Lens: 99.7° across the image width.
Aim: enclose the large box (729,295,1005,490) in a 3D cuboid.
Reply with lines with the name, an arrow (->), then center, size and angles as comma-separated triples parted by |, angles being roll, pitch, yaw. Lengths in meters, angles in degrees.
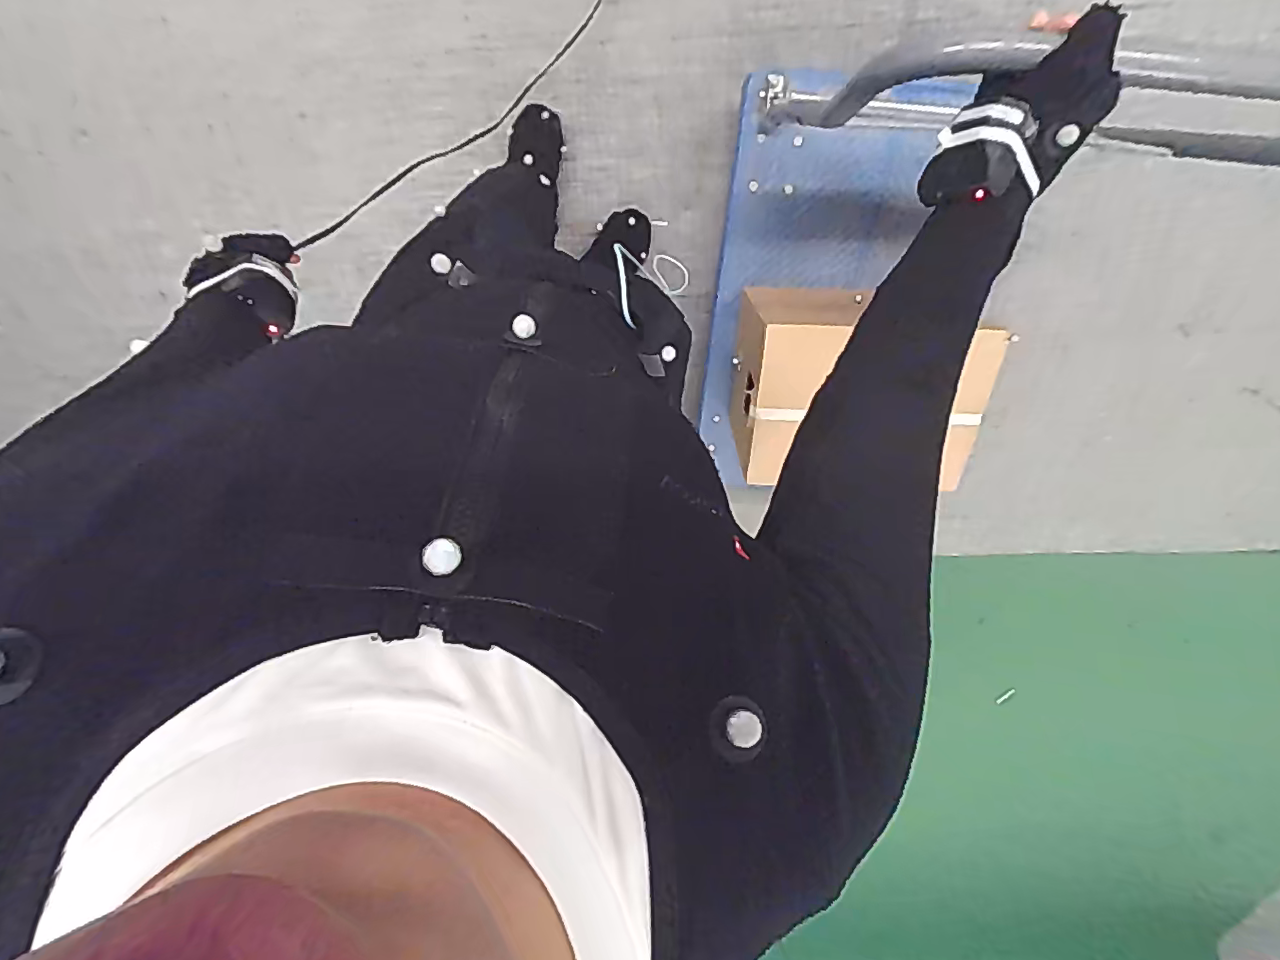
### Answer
large box -> 0.406, -0.189, 1.095 | 0.408, 0.320, 0.320 | 1, 121, 1
